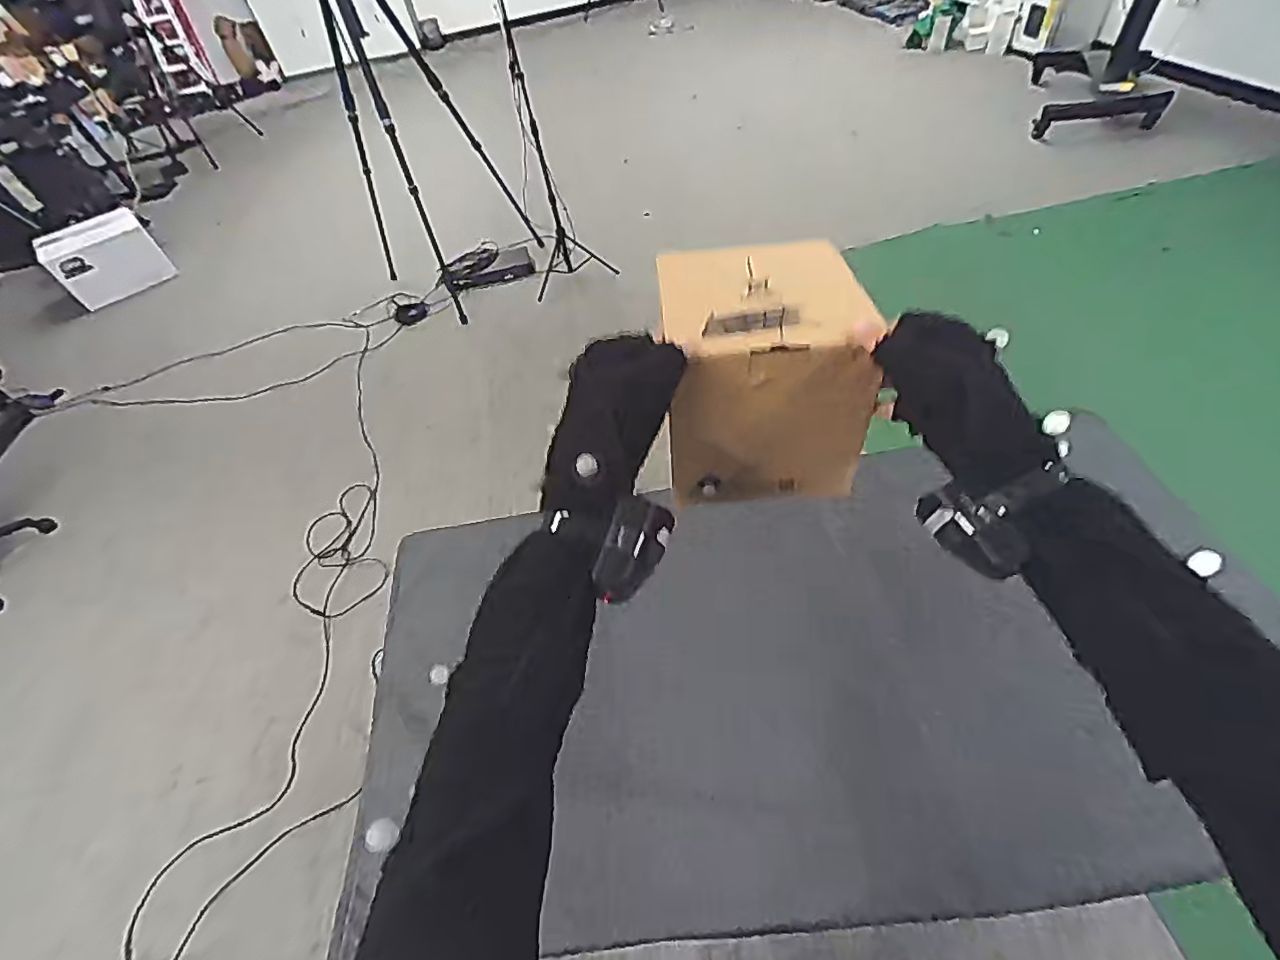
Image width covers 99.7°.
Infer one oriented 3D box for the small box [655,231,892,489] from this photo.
[{"bbox_3d":[0.103,-0.104,0.498,0.168,0.176,0.179,-4,47,1],"label":"small box"}]
